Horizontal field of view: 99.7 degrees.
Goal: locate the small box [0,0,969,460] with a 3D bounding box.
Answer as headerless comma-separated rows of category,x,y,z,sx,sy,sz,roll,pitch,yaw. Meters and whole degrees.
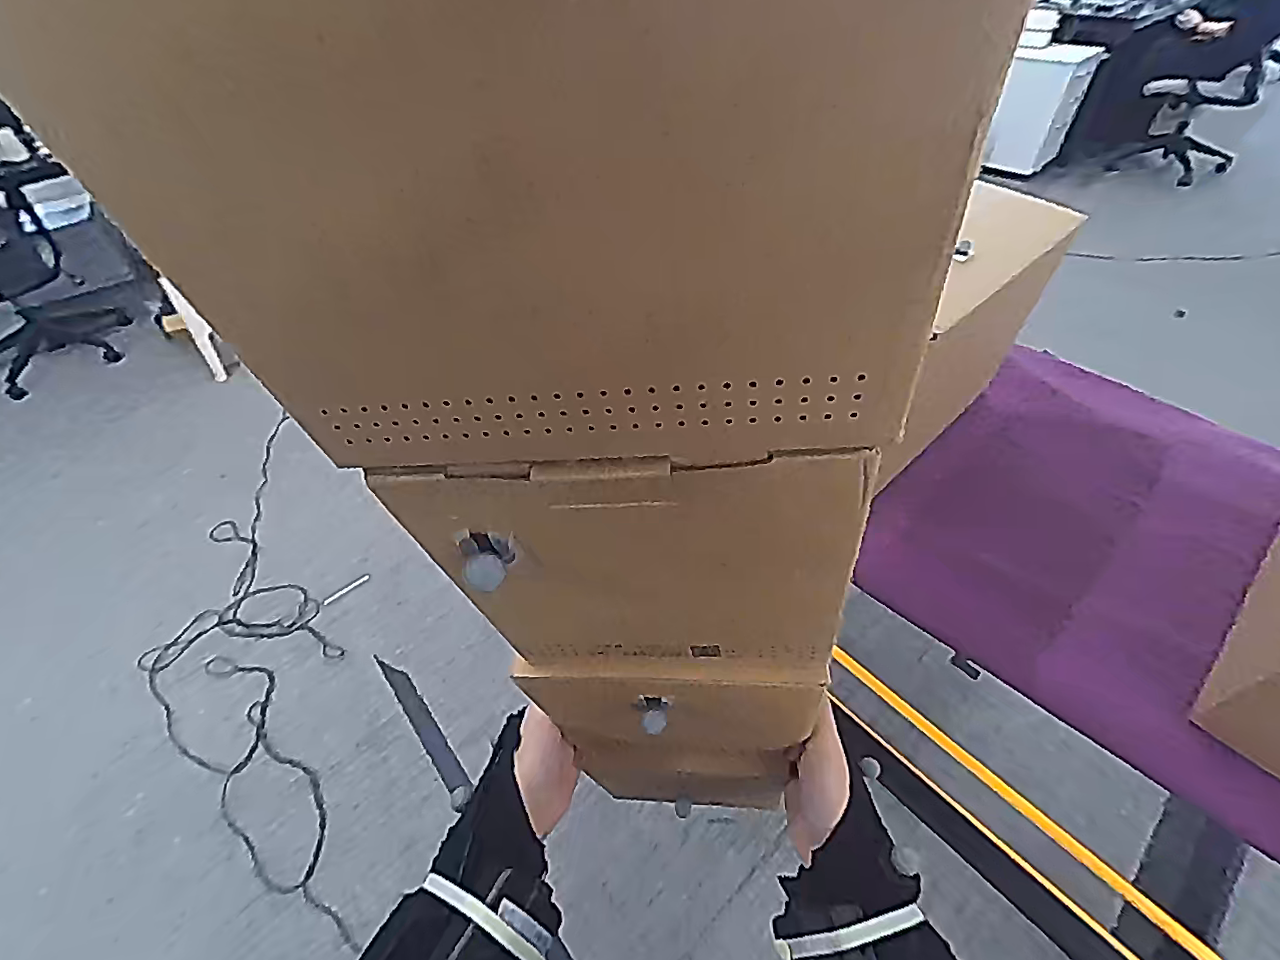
small box,-0.024,-0.120,0.152,0.179,0.176,0.168,-2,50,11

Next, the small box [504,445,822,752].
small box,0.026,0.093,0.400,0.179,0.176,0.168,-3,51,10

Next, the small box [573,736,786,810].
small box,0.046,0.200,0.520,0.168,0.176,0.179,-2,52,10
